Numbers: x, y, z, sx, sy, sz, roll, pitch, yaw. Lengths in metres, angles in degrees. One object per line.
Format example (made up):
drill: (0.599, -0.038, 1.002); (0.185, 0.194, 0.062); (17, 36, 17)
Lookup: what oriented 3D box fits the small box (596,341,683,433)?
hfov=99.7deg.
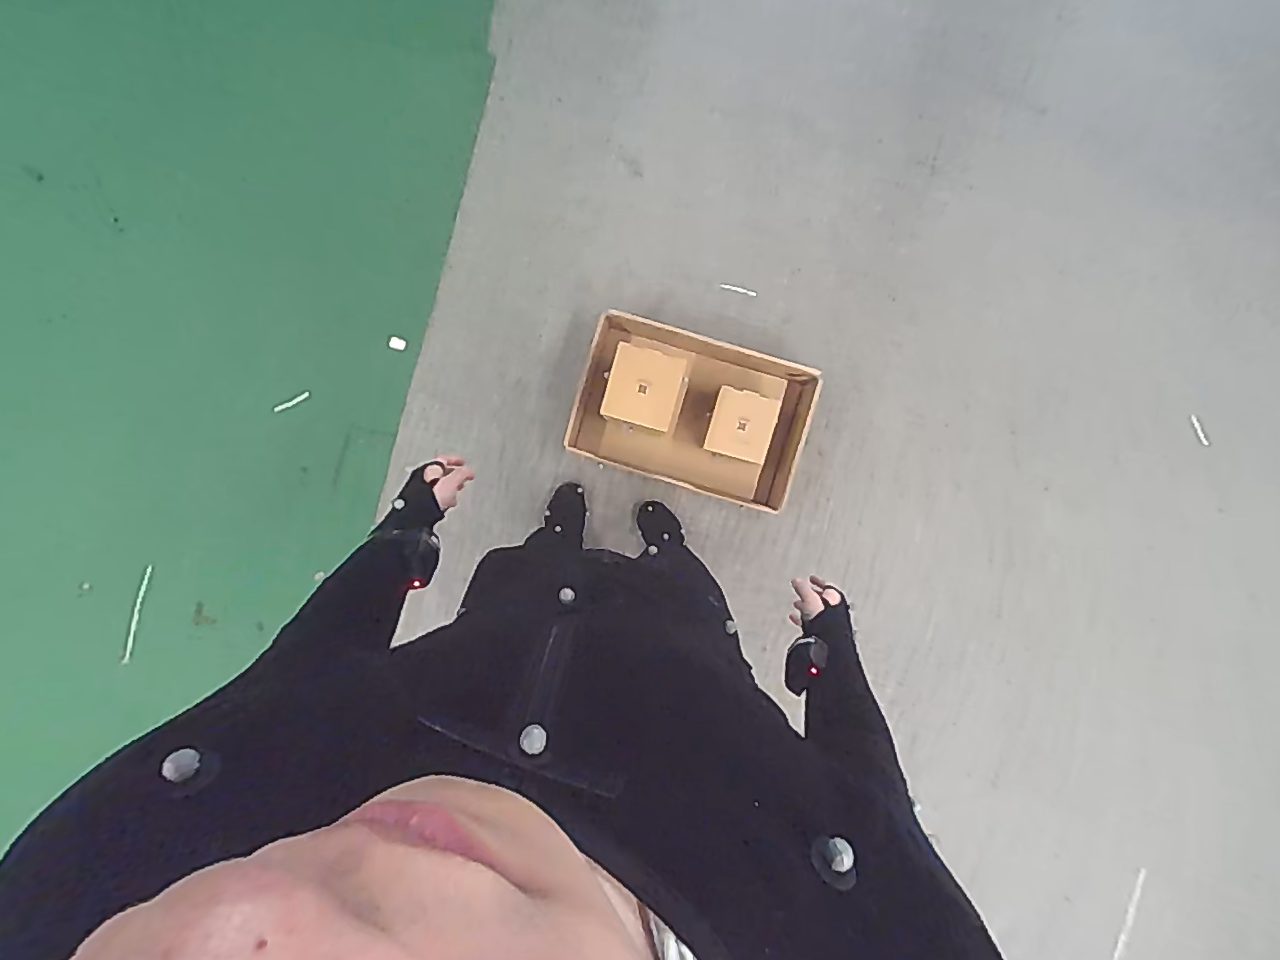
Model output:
small box: (0.001, -0.218, 1.320); (0.168, 0.176, 0.179); (16, 92, 0)
